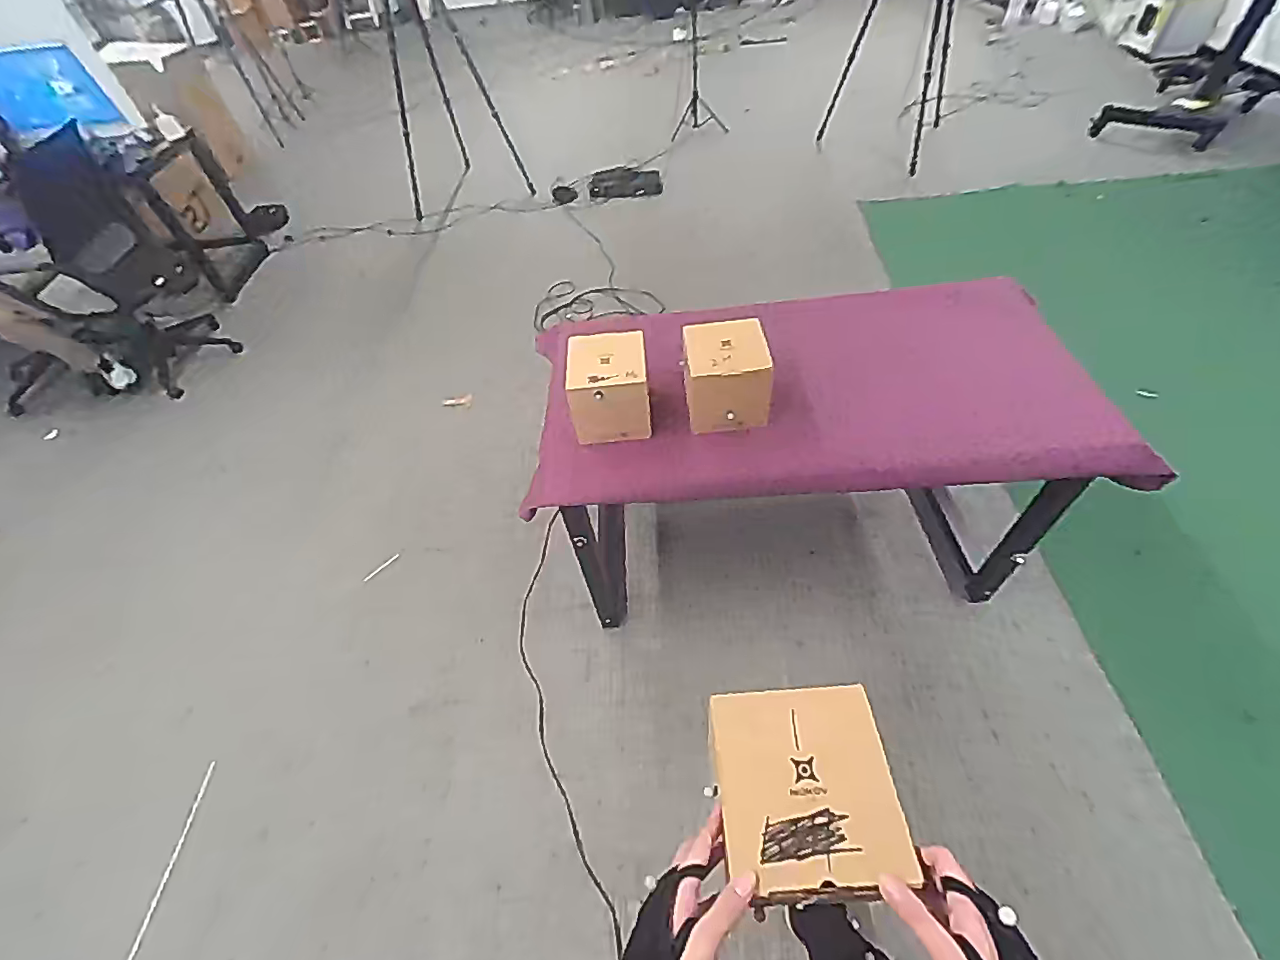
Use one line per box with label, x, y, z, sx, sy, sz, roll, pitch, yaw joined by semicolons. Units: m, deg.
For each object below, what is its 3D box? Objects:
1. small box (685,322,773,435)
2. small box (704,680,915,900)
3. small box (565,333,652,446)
small box;0.186;-0.221;1.185;0.168;0.176;0.179;-5;51;3
small box;0.161;0.335;0.579;0.168;0.176;0.179;-5;48;2
small box;-0.064;-0.198;1.194;0.168;0.176;0.179;-6;49;4
